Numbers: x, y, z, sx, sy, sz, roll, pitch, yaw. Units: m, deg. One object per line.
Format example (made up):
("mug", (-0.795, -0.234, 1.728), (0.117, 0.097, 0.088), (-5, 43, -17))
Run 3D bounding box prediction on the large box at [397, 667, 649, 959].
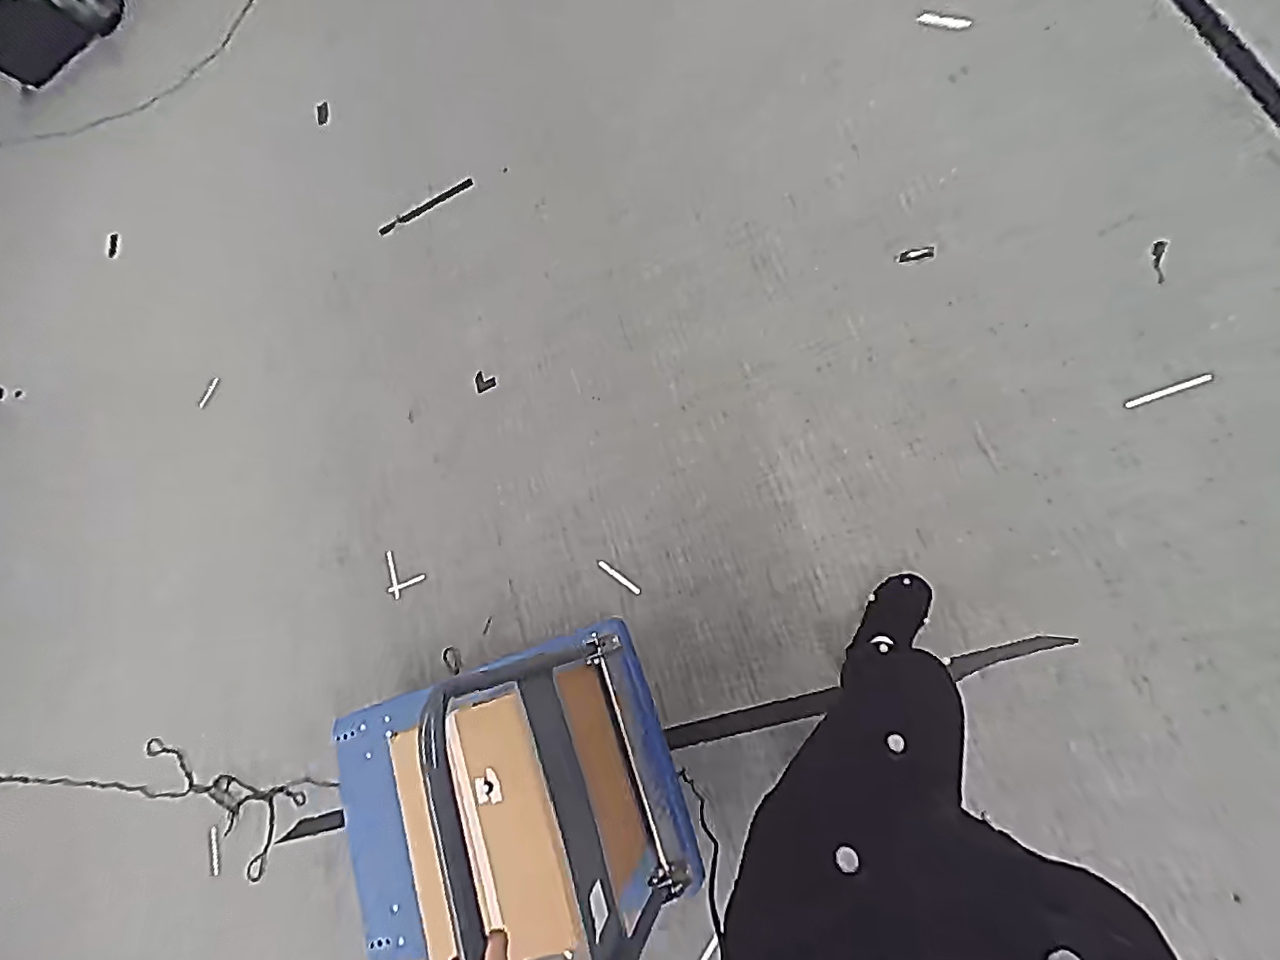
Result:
("large box", (-0.223, 0.643, 1.094), (0.320, 0.320, 0.408), (-24, 73, 13))
